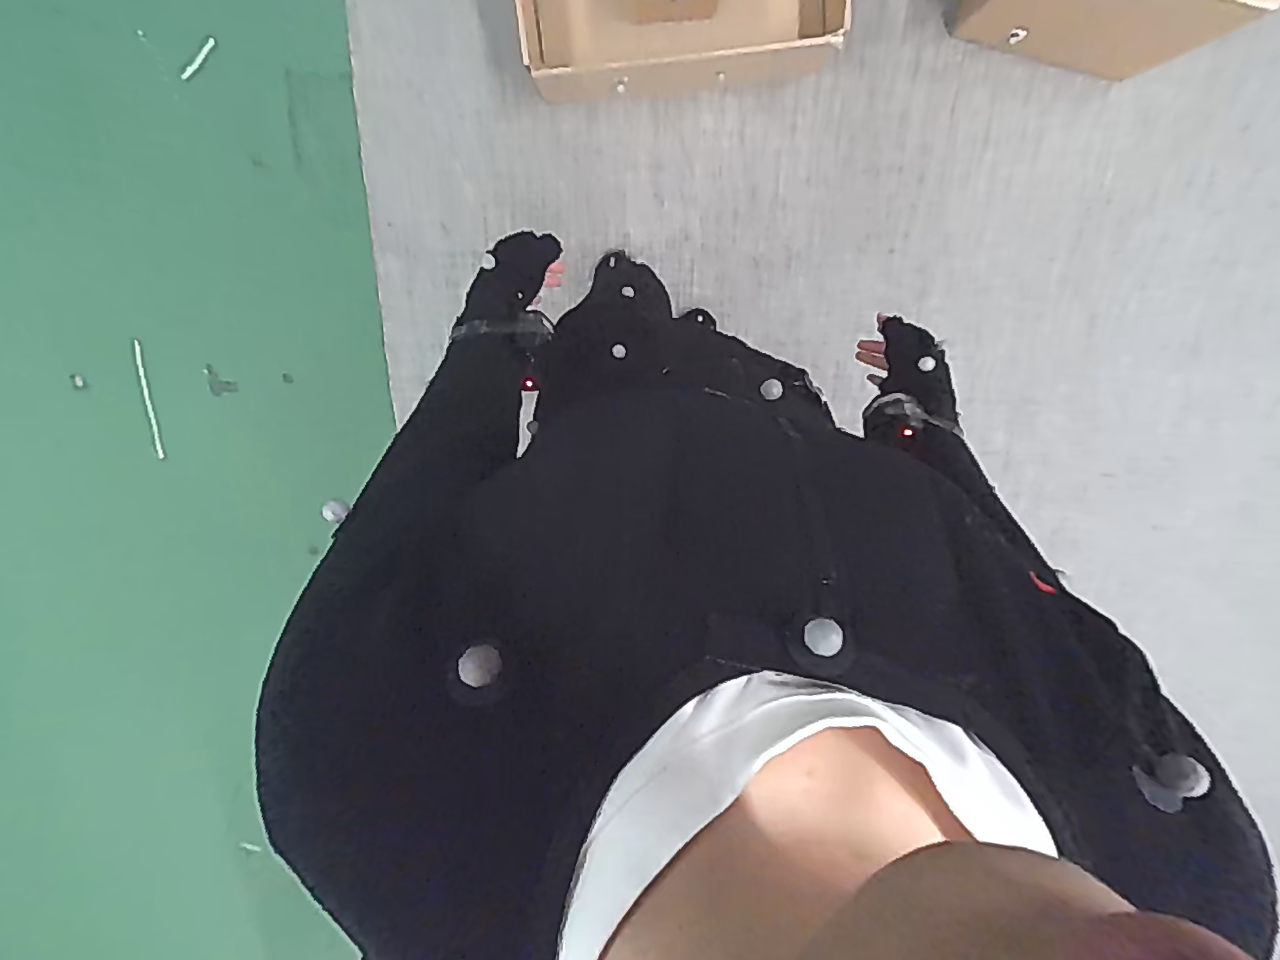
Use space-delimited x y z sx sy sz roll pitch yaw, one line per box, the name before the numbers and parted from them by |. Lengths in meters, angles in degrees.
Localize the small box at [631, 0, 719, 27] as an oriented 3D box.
small box | 0.066 -0.999 1.028 0.179 0.176 0.168 -4 109 1
